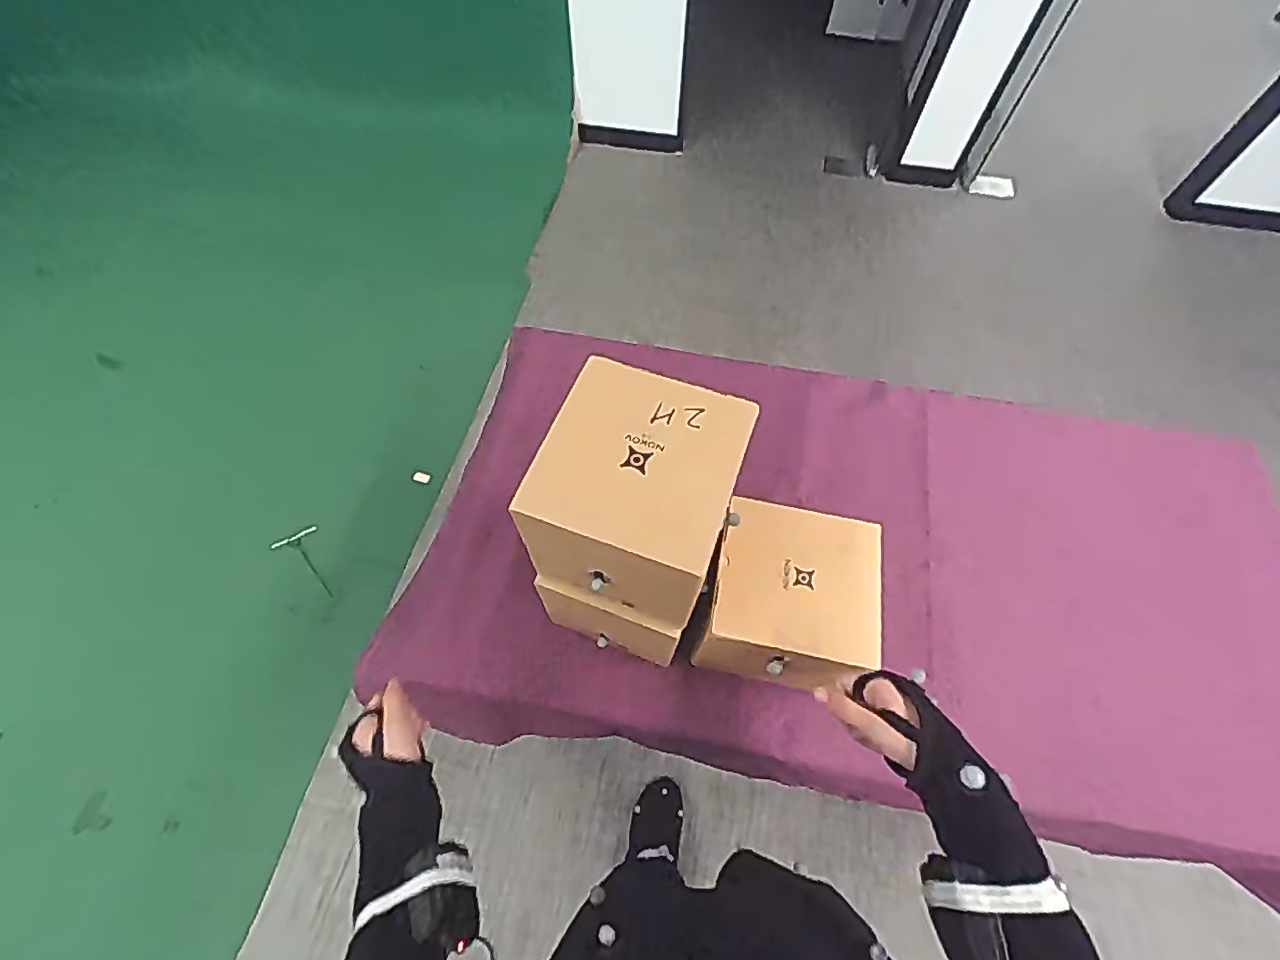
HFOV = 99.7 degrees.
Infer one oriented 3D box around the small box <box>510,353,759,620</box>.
[{"bbox_3d":[0.000,0.015,0.524,0.168,0.176,0.179,19,62,9],"label":"small box"}]
